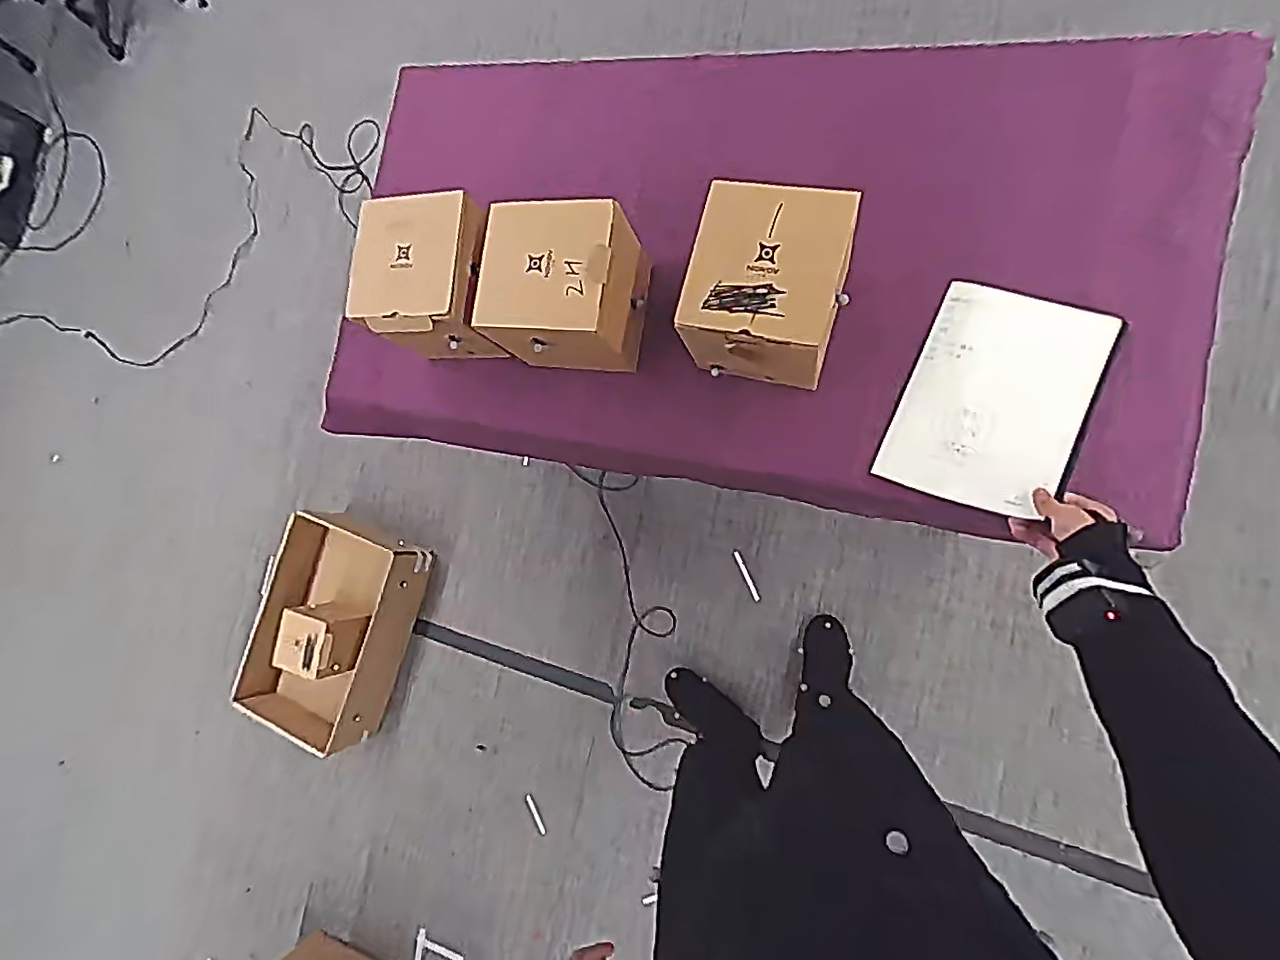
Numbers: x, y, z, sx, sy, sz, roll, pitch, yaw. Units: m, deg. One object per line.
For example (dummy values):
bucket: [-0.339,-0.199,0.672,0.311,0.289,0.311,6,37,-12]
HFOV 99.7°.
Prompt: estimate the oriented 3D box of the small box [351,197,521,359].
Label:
small box: [-0.292,-0.285,0.806,0.168,0.176,0.179,3,85,16]

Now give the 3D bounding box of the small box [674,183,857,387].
small box: [0.157,-0.228,0.667,0.168,0.176,0.179,14,87,17]
